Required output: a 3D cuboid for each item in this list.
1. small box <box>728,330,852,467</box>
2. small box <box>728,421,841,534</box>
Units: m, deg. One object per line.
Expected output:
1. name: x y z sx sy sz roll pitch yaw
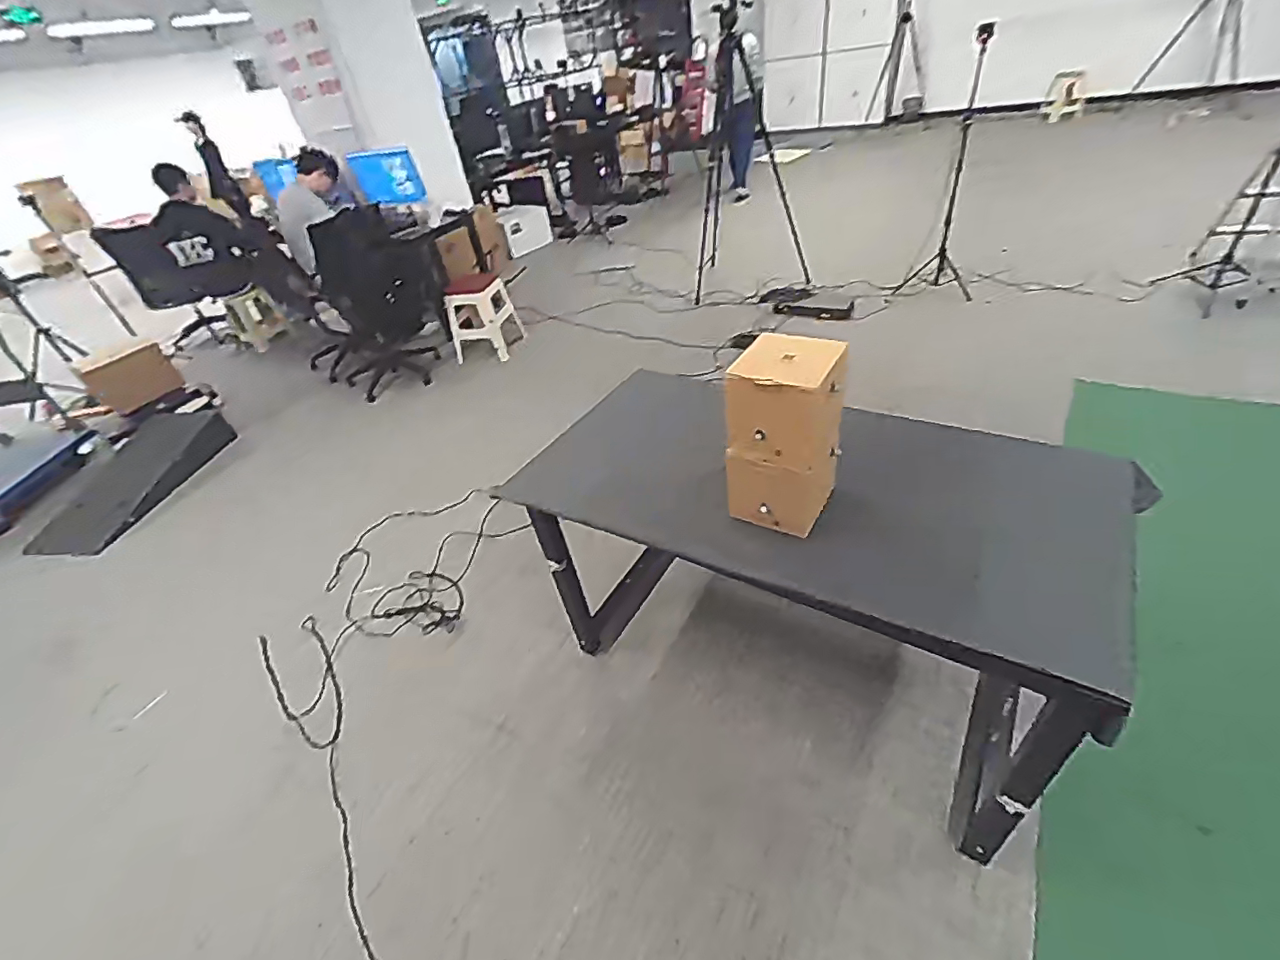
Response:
1. small box: 0.271 -0.152 0.993 0.168 0.176 0.179 18 46 29
2. small box: 0.288 -0.023 1.090 0.168 0.176 0.179 17 45 30
